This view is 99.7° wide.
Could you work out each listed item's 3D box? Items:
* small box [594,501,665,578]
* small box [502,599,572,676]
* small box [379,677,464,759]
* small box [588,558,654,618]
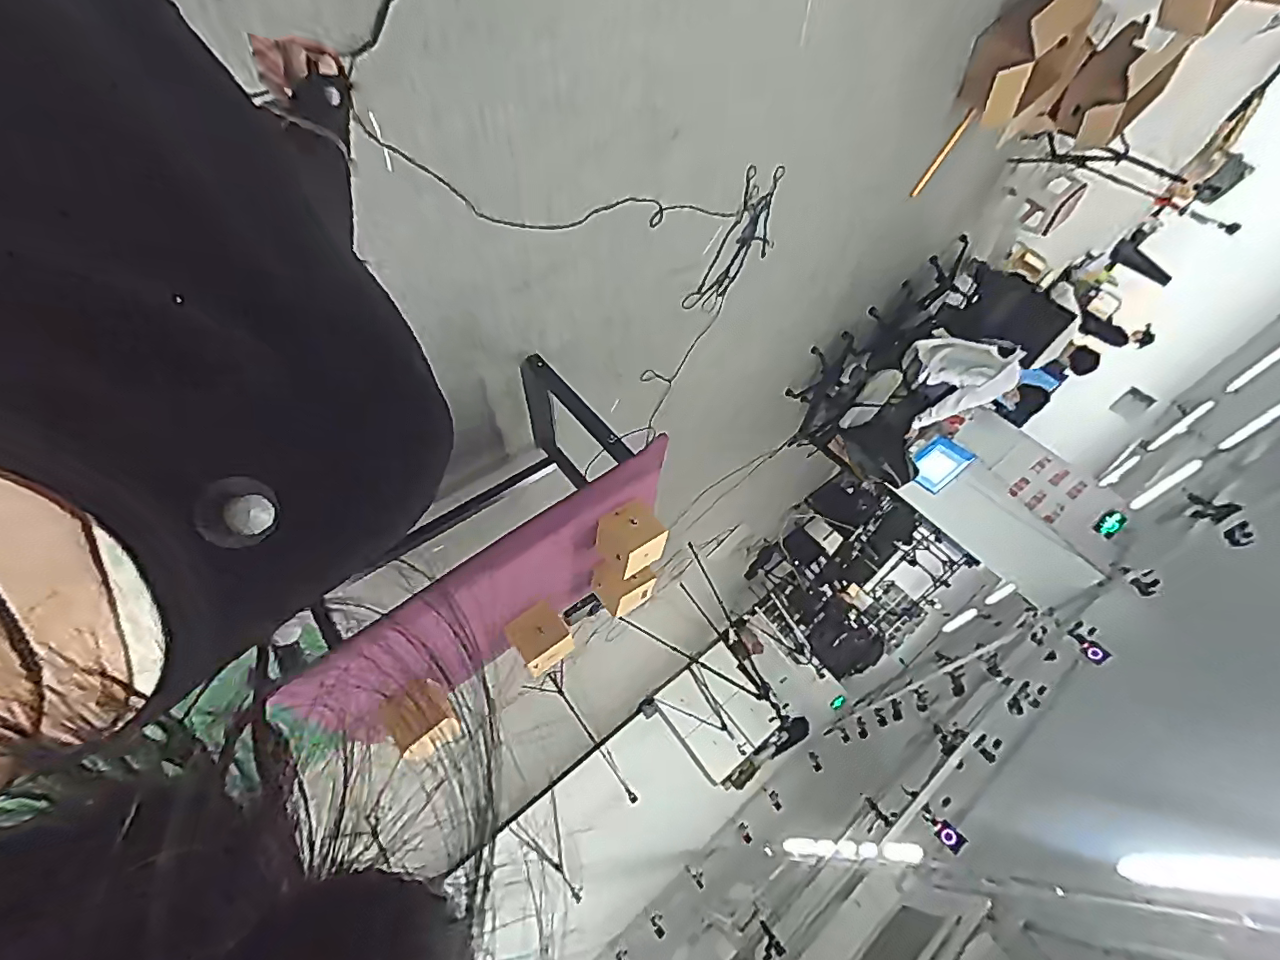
[{"bbox_3d":[-0.041,0.194,1.830,0.168,0.176,0.179,-28,151,-29],"label":"small box"},{"bbox_3d":[-0.364,0.554,1.916,0.179,0.176,0.168,-34,152,-22],"label":"small box"},{"bbox_3d":[-0.699,0.761,1.735,0.168,0.176,0.179,-37,153,-19],"label":"small box"},{"bbox_3d":[-0.077,0.389,2.081,0.179,0.176,0.168,-25,148,-32],"label":"small box"}]
